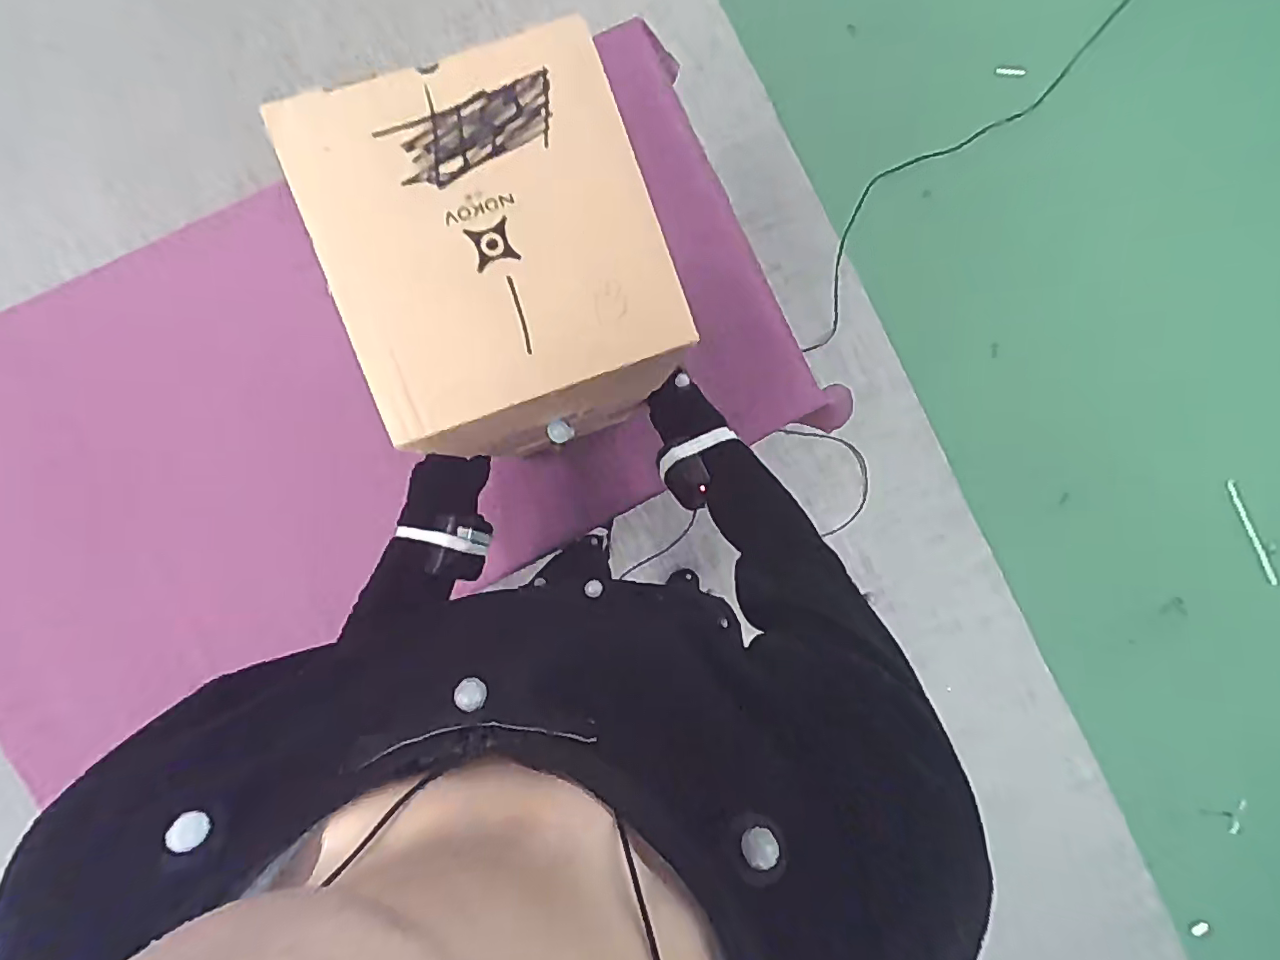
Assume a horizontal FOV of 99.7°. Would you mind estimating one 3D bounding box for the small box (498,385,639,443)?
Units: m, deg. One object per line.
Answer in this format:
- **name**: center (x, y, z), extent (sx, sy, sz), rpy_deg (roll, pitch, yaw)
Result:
- **small box**: center (-0.109, -0.152, 0.672), extent (0.168, 0.176, 0.179), rpy_deg (-20, 93, -6)
